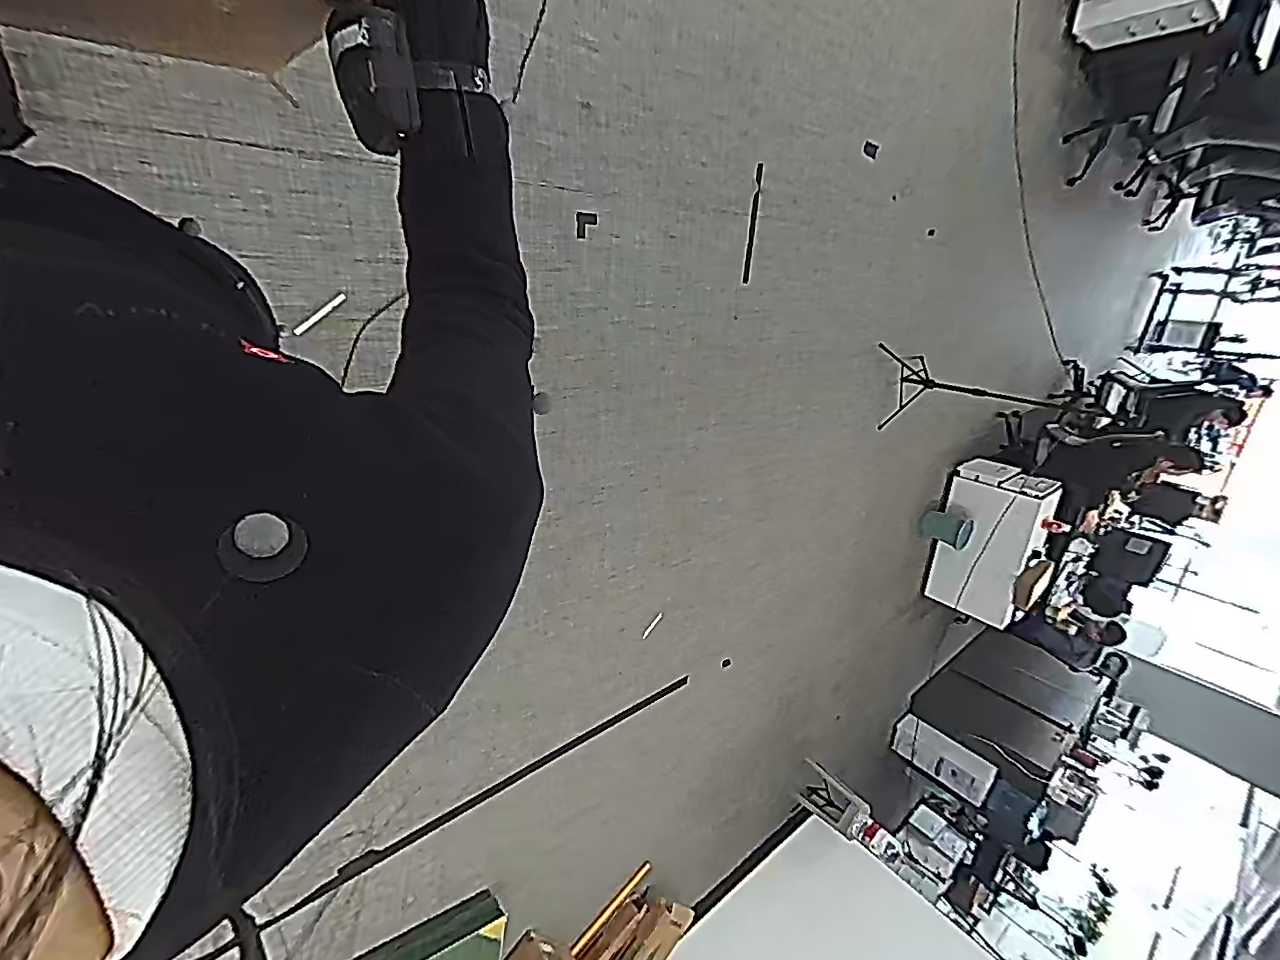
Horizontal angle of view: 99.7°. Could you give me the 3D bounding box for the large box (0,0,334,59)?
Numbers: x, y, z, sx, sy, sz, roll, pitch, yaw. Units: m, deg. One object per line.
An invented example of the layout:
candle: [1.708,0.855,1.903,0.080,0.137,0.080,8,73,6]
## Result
large box: [-0.402,-0.425,0.228,0.408,0.320,0.320,-18,125,-37]
